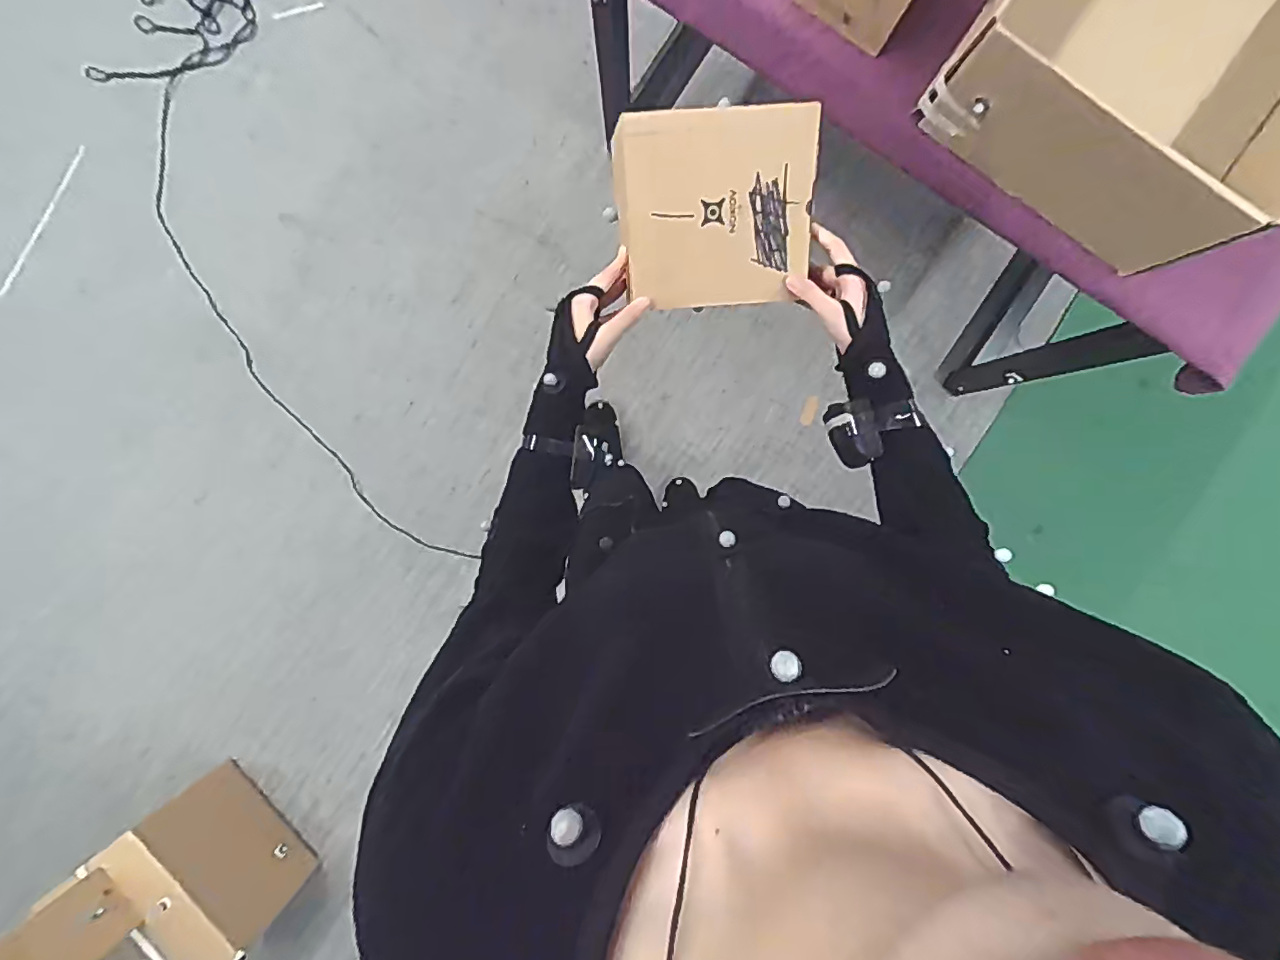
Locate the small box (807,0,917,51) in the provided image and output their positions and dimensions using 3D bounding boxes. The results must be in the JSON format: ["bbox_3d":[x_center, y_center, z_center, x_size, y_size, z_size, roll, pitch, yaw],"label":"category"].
[{"bbox_3d":[0.315,-0.705,0.677,0.168,0.176,0.179,35,90,-2],"label":"small box"}]

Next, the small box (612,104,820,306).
[{"bbox_3d":[0.066,-0.282,0.569,0.179,0.176,0.168,-5,115,-3],"label":"small box"}]

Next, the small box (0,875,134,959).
[{"bbox_3d":[-1.269,1.015,1.162,0.179,0.176,0.168,-38,92,3],"label":"small box"}]
